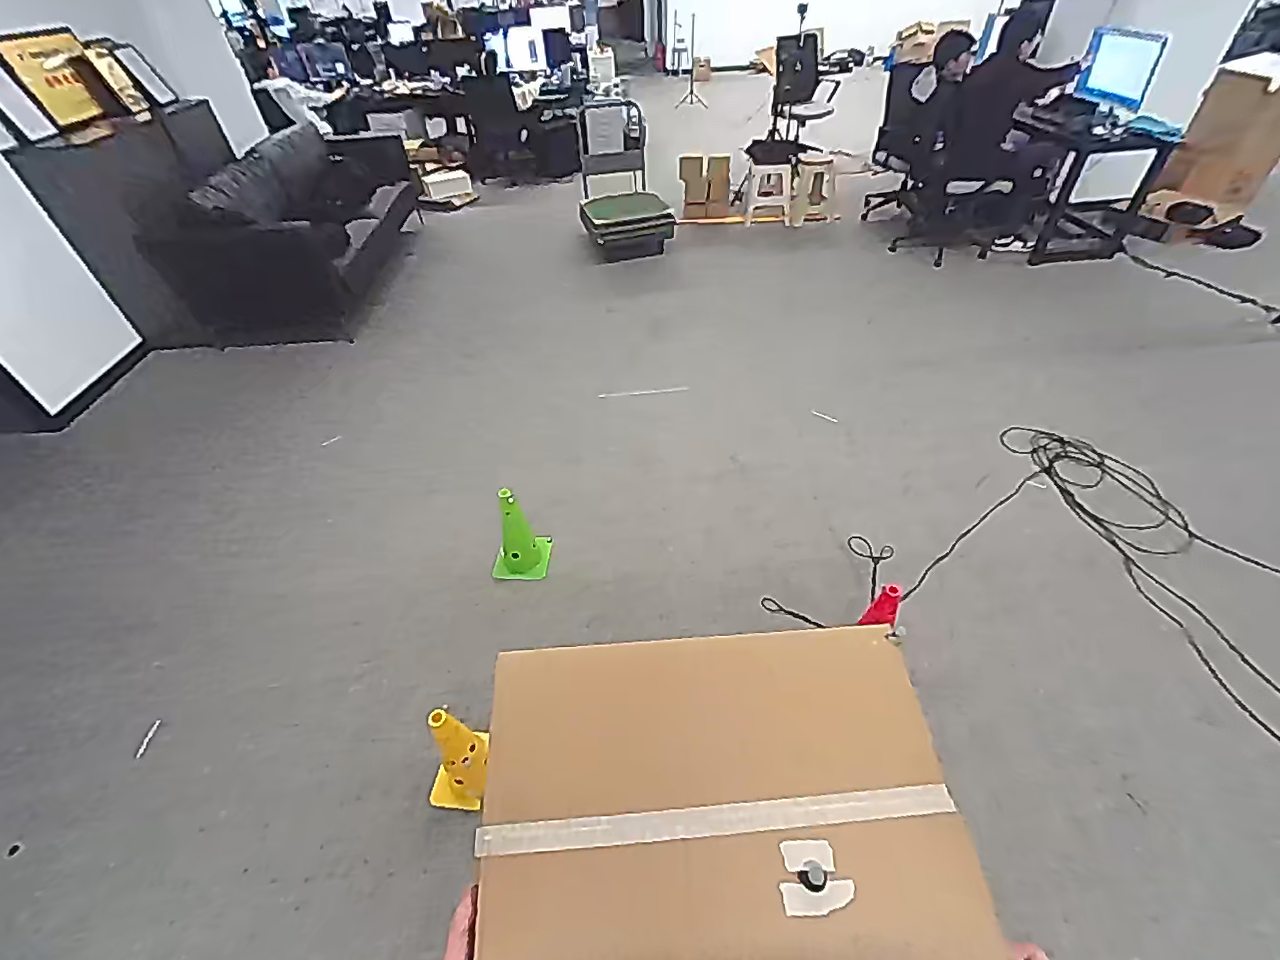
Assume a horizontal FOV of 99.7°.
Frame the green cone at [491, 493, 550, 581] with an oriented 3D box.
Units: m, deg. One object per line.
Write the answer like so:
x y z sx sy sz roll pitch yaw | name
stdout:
-0.460 0.179 1.942 0.200 0.368 0.202 0 45 4 | green cone

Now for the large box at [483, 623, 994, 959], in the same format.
0.064 0.376 0.597 0.408 0.320 0.320 -3 56 -3 | large box
